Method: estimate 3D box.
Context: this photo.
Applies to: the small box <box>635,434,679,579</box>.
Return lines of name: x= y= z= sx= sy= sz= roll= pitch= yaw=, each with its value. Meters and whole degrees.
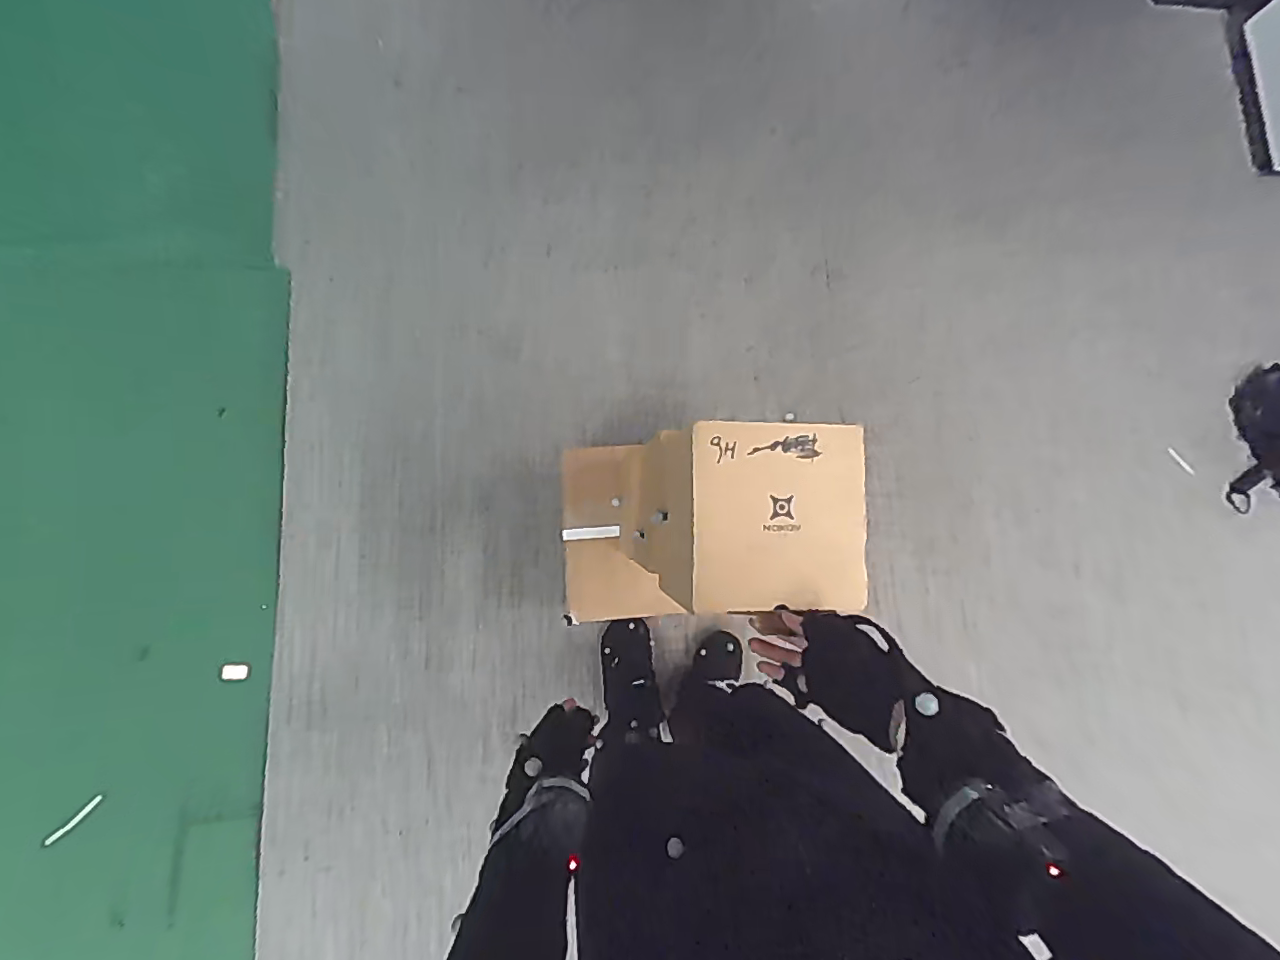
small box: x=0.087 y=0.042 z=0.739 sx=0.168 sy=0.176 sz=0.179 roll=4 pitch=84 yaw=-9

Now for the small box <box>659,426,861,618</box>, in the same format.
small box: x=0.116 y=0.042 z=0.577 sx=0.168 sy=0.176 sz=0.179 roll=1 pitch=87 yaw=-8

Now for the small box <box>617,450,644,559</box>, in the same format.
small box: x=0.061 y=0.048 z=0.896 sx=0.179 sy=0.176 sz=0.168 roll=4 pitch=84 yaw=-7
